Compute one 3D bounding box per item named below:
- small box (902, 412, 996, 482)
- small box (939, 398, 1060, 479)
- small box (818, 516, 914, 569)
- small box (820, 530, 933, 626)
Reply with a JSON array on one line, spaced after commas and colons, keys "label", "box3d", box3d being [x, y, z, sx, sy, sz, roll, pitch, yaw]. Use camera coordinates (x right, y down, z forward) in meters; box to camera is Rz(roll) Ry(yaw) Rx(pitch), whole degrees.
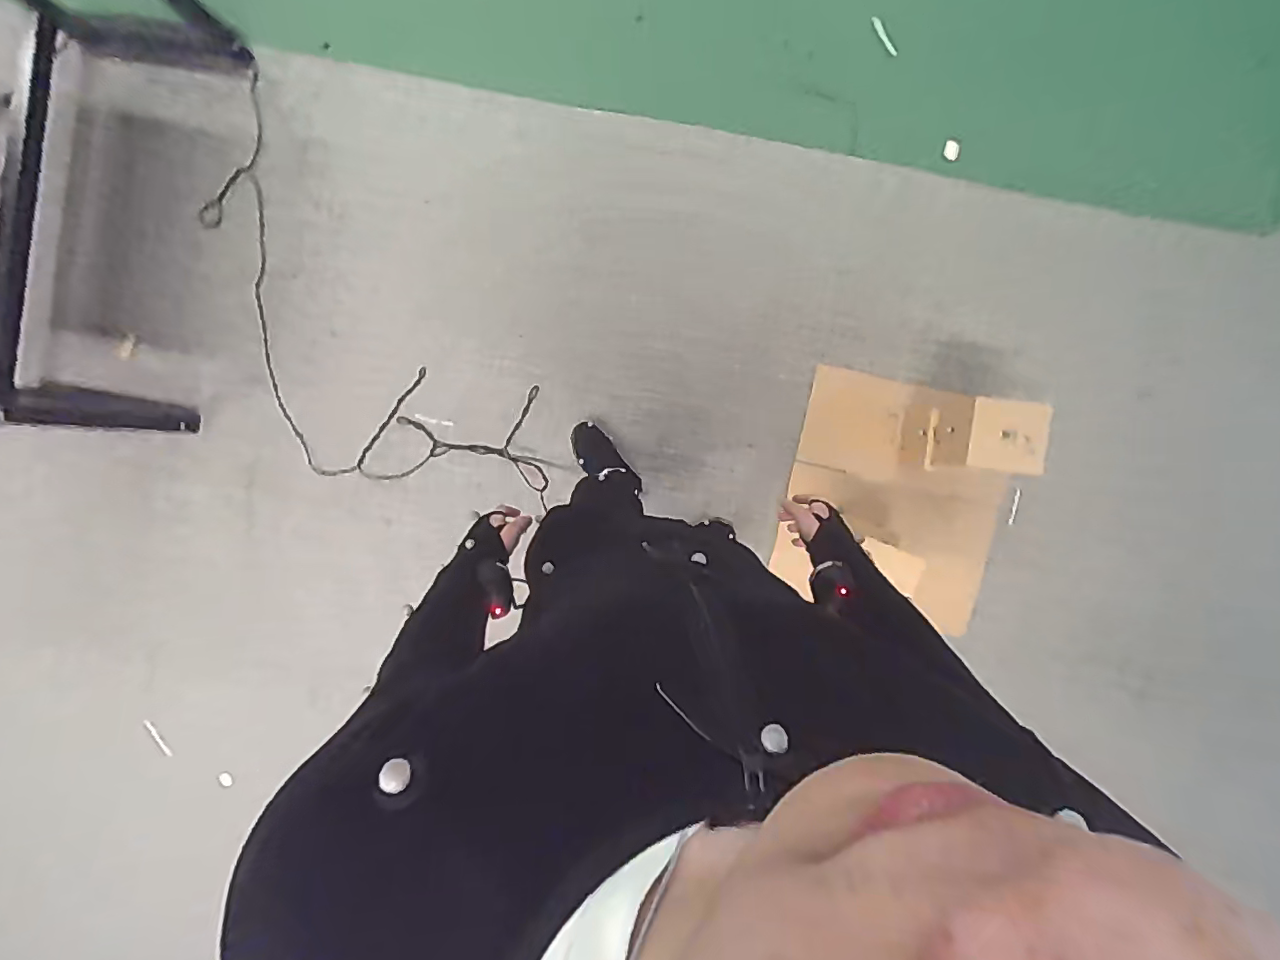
[{"label": "small box", "box3d": [0.849, -0.092, 1.474, 0.179, 0.176, 0.168, 7, 94, 3]}, {"label": "small box", "box3d": [0.857, -0.099, 1.308, 0.179, 0.176, 0.168, 8, 95, 2]}, {"label": "small box", "box3d": [0.617, 0.203, 1.501, 0.179, 0.176, 0.168, 18, 94, 1]}, {"label": "small box", "box3d": [0.574, 0.233, 1.340, 0.179, 0.176, 0.168, 22, 94, 1]}]
